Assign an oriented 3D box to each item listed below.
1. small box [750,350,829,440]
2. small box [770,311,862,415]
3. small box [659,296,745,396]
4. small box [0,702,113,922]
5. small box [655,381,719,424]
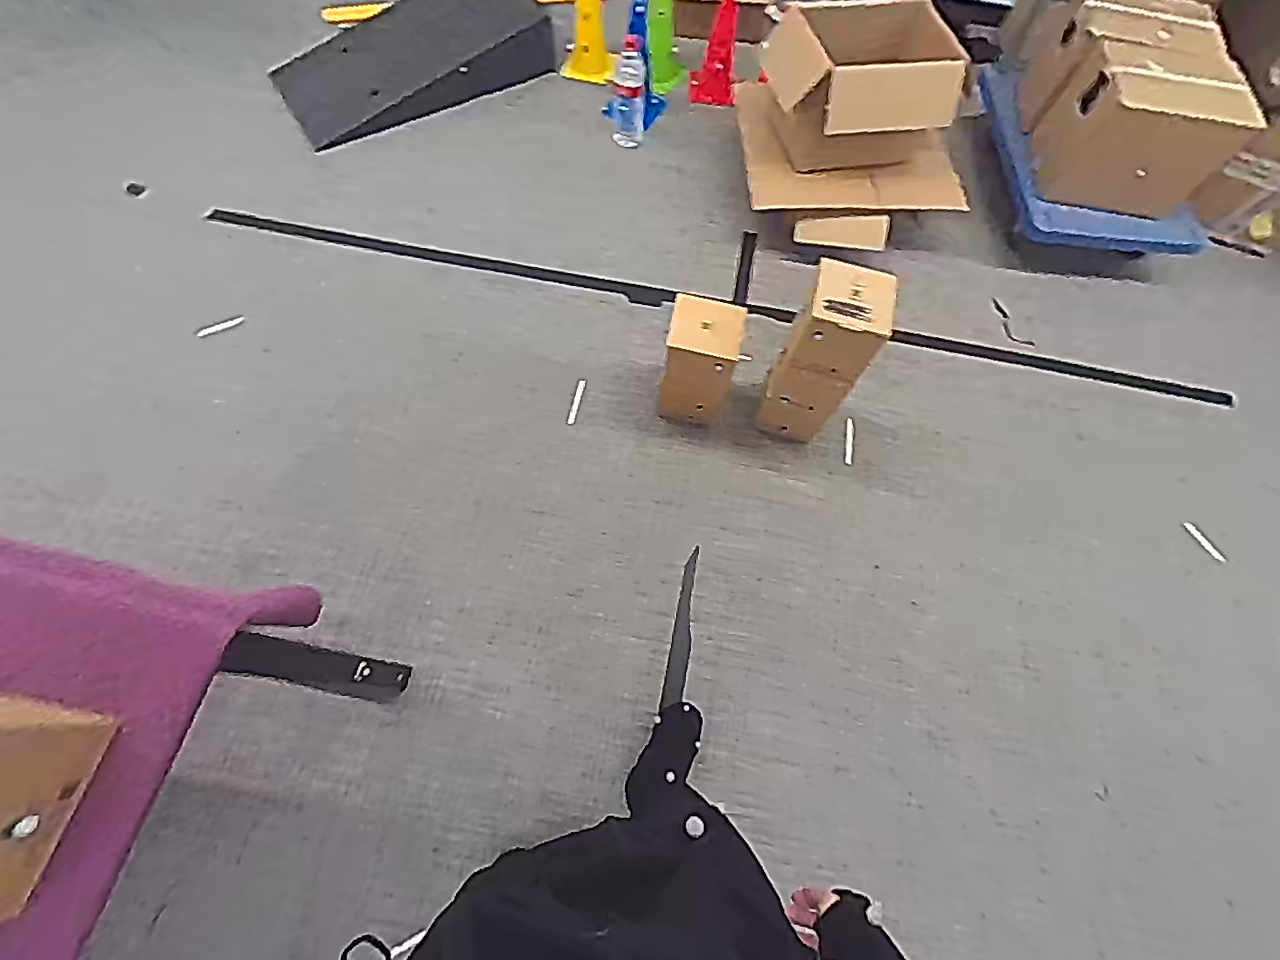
[{"bbox_3d":[0.427,-0.231,1.522,0.179,0.176,0.168,16,67,2],"label":"small box"},{"bbox_3d":[0.439,-0.289,1.368,0.168,0.176,0.179,15,66,2],"label":"small box"},{"bbox_3d":[0.152,-0.333,1.369,0.179,0.176,0.168,12,67,0],"label":"small box"},{"bbox_3d":[-0.613,0.273,0.435,0.179,0.176,0.168,11,68,1],"label":"small box"},{"bbox_3d":[0.139,-0.277,1.522,0.168,0.176,0.179,11,66,-1],"label":"small box"}]
